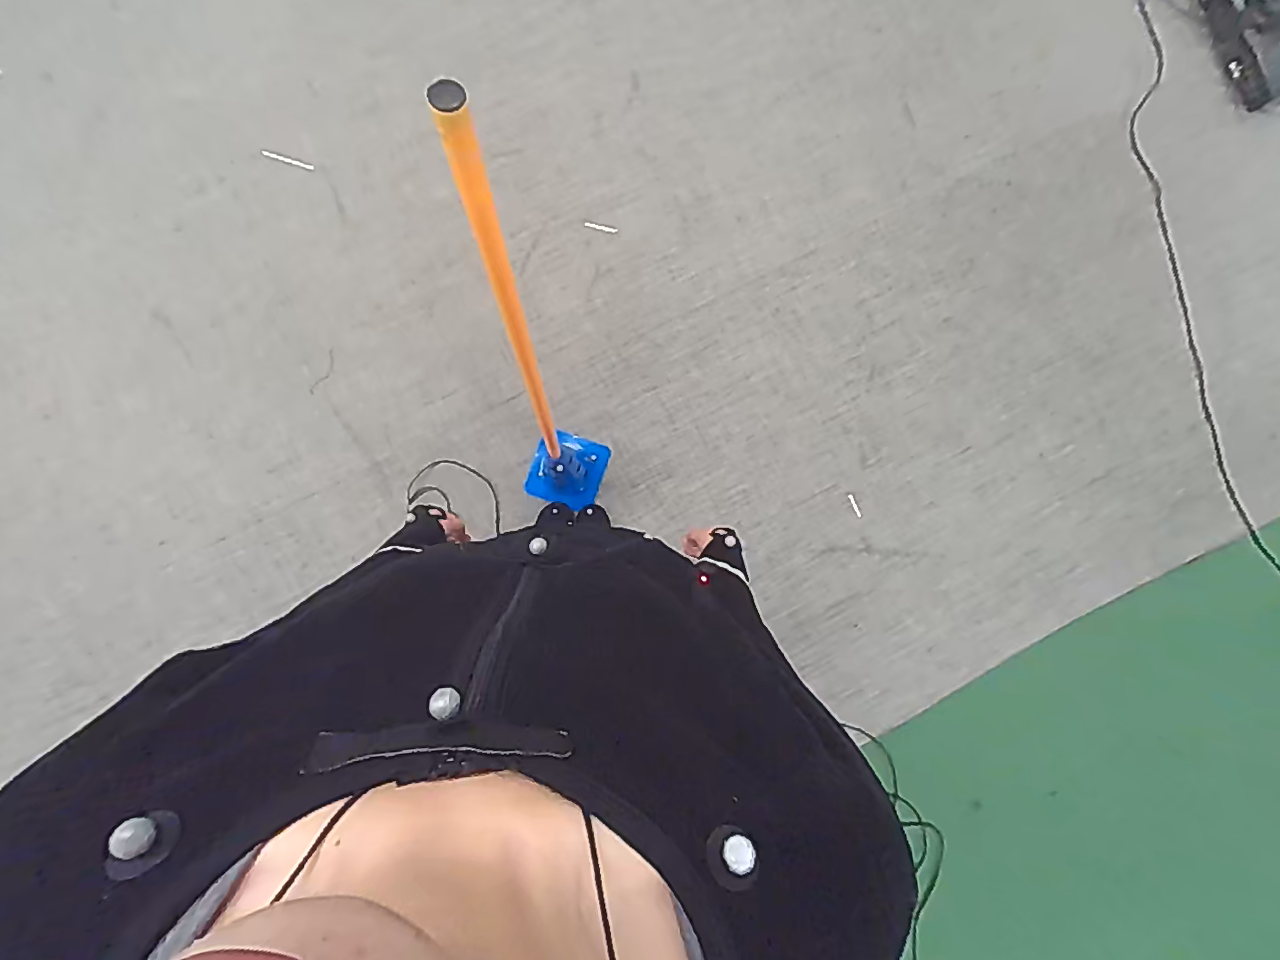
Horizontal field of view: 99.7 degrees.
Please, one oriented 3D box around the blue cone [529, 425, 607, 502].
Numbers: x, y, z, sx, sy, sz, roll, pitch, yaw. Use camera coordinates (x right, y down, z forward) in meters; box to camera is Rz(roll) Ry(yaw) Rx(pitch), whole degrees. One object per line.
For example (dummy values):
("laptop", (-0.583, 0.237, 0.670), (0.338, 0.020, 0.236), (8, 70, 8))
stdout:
("blue cone", (-0.189, -0.061, 1.328), (0.192, 0.380, 0.193), (17, 84, -2))
